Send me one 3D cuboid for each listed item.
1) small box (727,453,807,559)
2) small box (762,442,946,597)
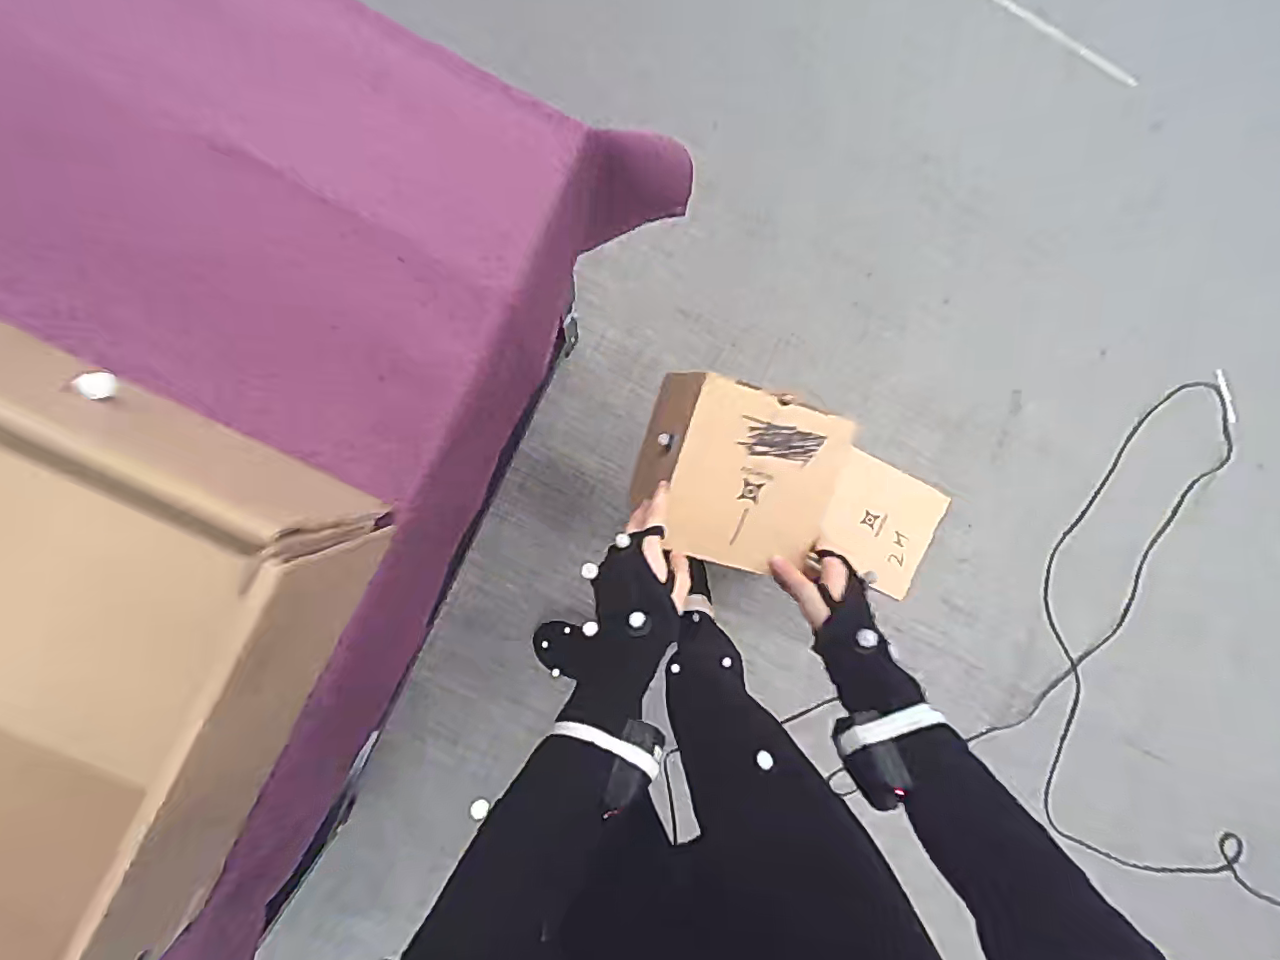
[{"bbox_3d":[0.300,0.051,1.166,0.168,0.176,0.179,20,90,-5],"label":"small box"},{"bbox_3d":[0.315,0.056,0.836,0.179,0.176,0.168,27,90,-5],"label":"small box"}]
